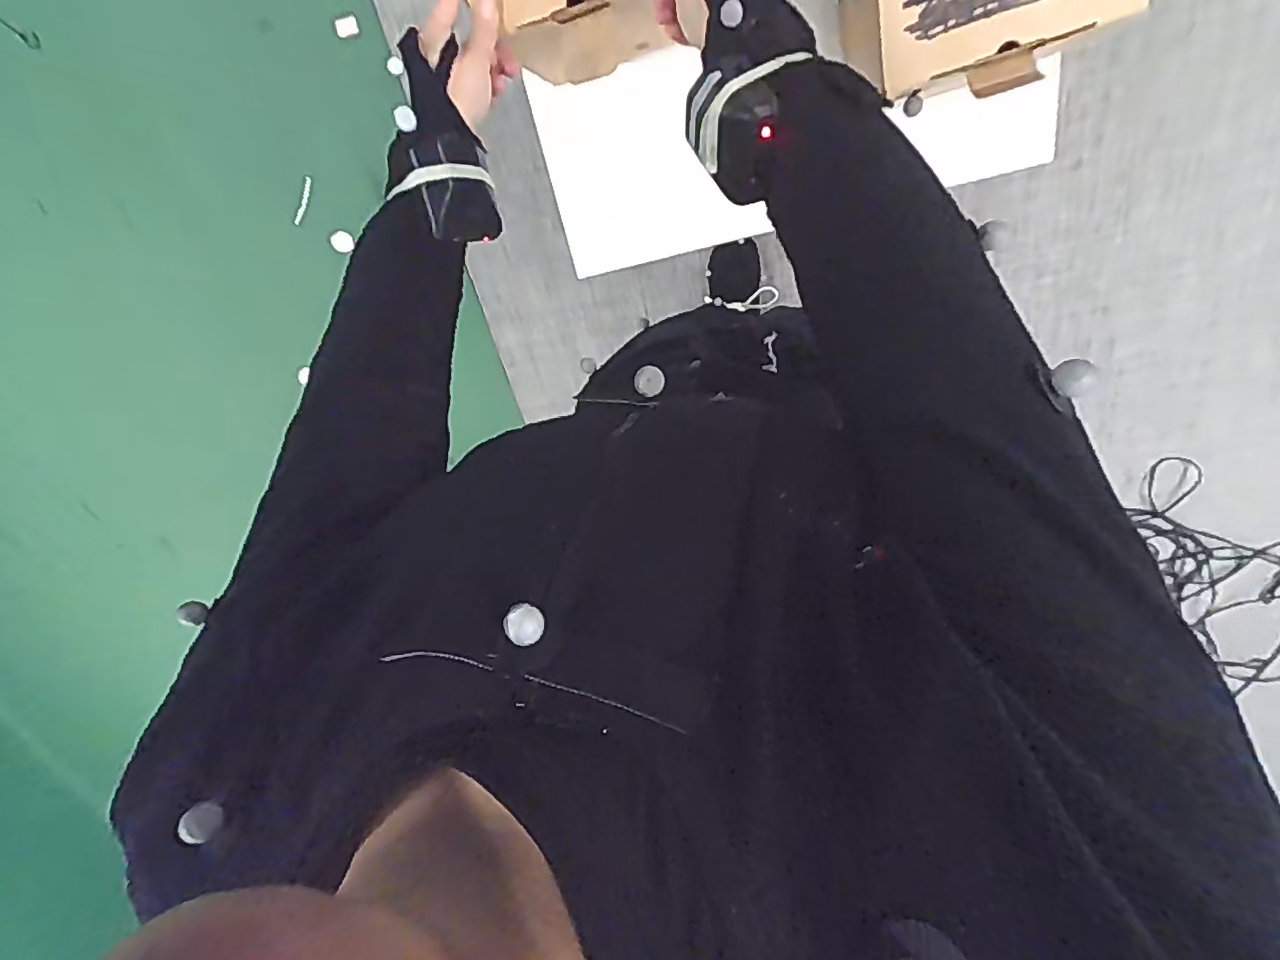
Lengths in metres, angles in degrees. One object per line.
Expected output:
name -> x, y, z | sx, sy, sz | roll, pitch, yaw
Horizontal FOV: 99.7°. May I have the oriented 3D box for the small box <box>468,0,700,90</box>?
small box -> -0.050, -0.458, 0.443 | 0.168, 0.176, 0.179 | -7, 115, 16
